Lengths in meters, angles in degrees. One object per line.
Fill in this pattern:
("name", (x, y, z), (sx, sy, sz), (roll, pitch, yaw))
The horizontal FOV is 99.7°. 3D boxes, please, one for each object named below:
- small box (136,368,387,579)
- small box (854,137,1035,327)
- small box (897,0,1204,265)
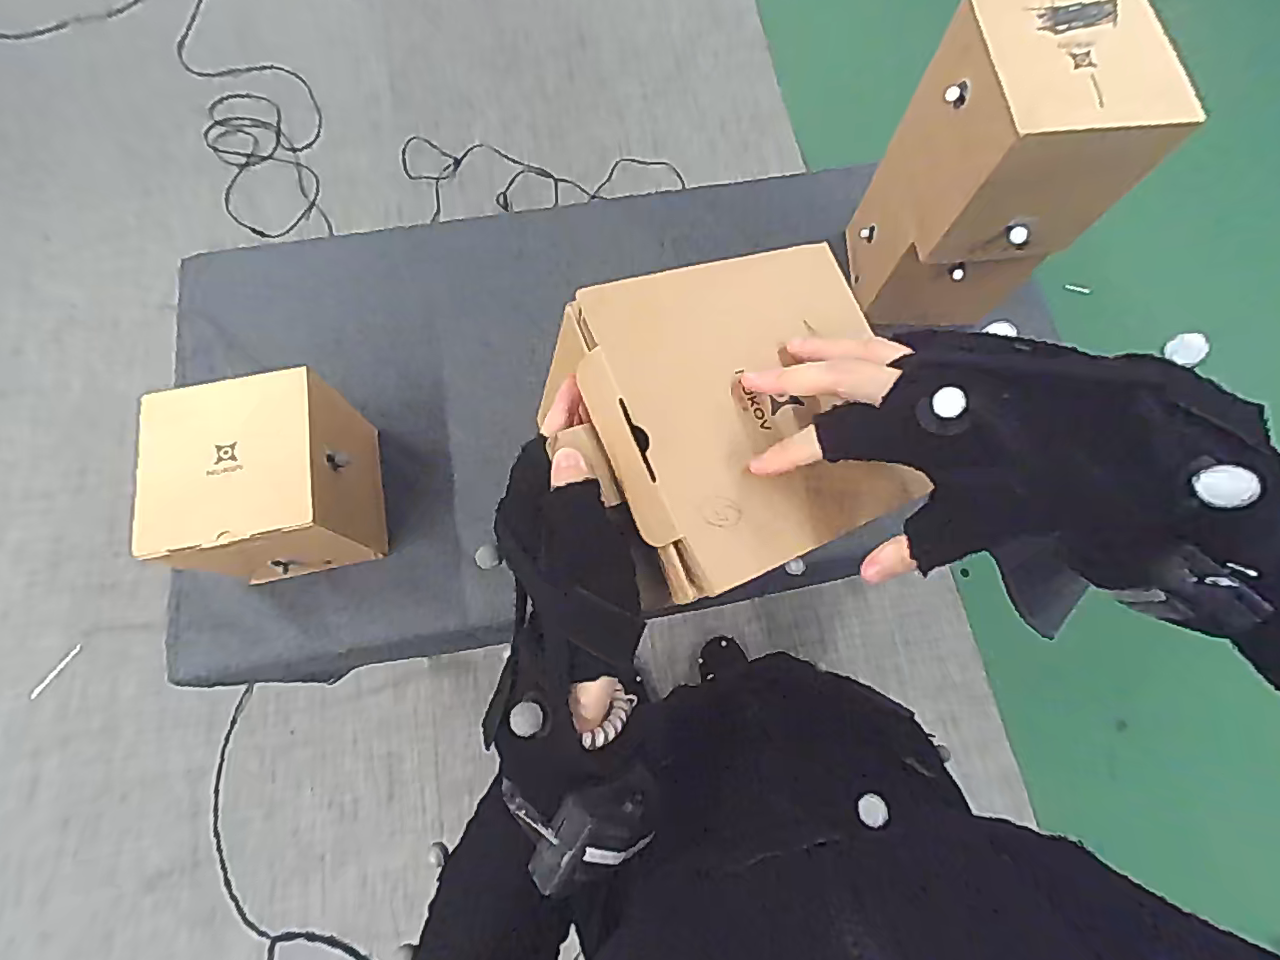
("small box", (-0.405, 0.001, 0.609), (0.168, 0.176, 0.179), (-11, 73, -5))
("small box", (0.398, -0.320, 0.720), (0.179, 0.176, 0.168), (2, 73, 0))
("small box", (0.392, -0.351, 0.558), (0.168, 0.176, 0.179), (-4, 73, -1))
